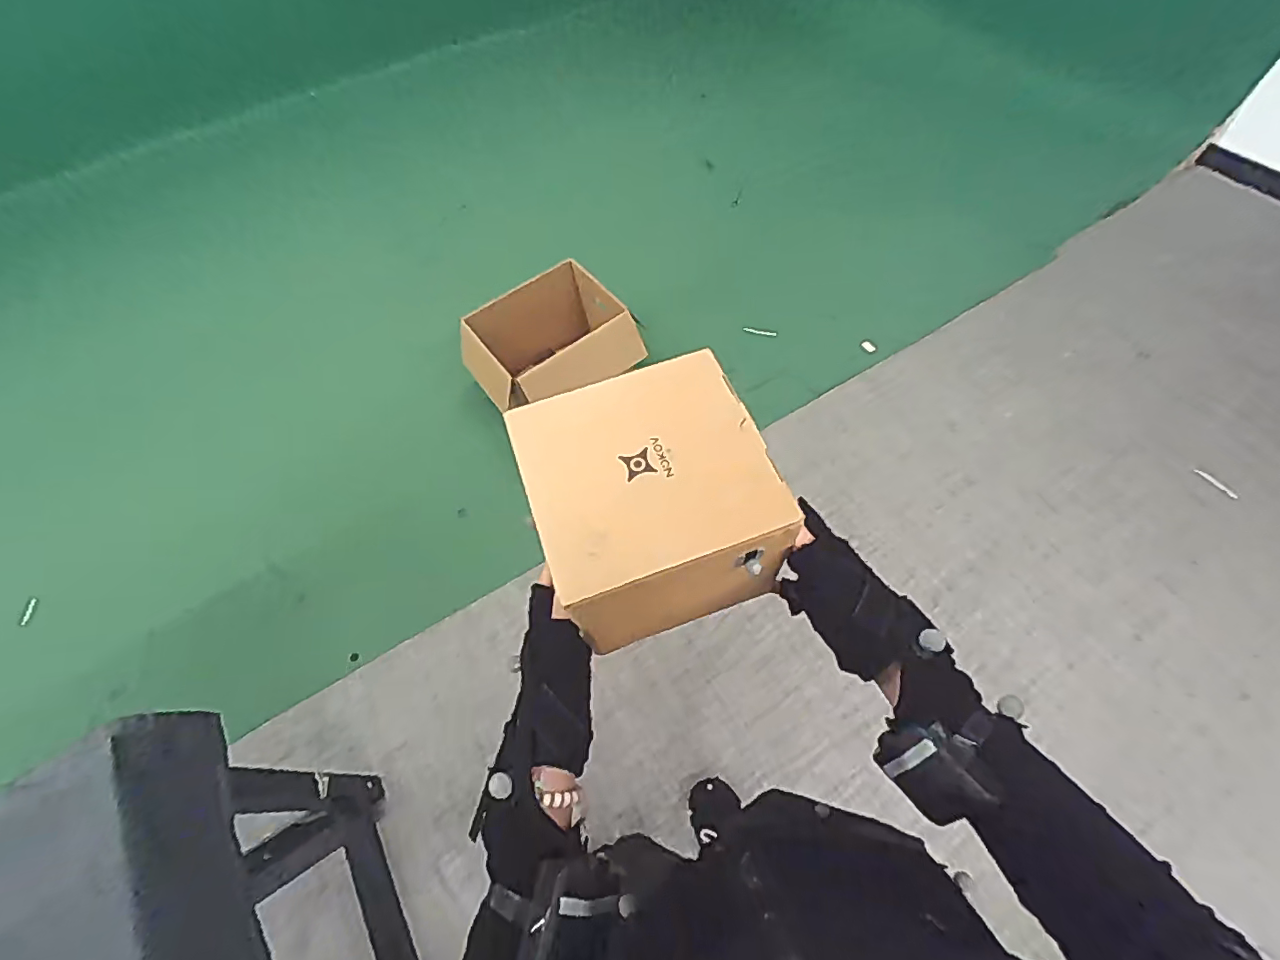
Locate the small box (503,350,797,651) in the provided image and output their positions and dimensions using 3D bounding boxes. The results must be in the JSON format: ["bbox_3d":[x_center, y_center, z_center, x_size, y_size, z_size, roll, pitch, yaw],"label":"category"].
[{"bbox_3d":[0.006,0.027,0.459,0.179,0.176,0.168,-19,62,-7],"label":"small box"}]
